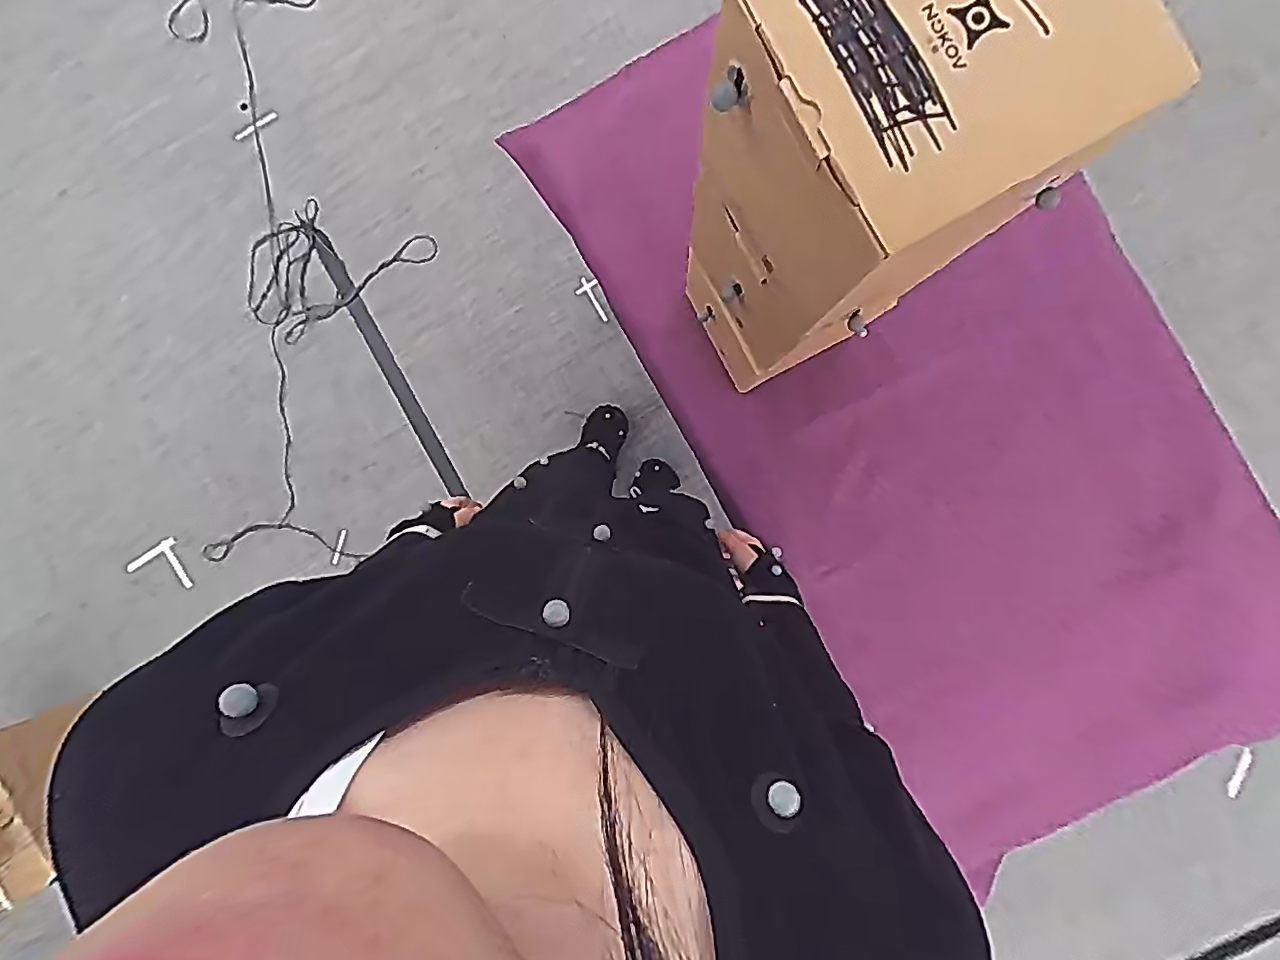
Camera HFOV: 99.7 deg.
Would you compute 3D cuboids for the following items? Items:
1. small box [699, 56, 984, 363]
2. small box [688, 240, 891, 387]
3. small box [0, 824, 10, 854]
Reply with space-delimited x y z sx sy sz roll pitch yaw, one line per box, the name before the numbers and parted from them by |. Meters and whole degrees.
small box | 0.168 -0.231 0.518 0.179 0.176 0.168 -30 91 3
small box | 0.172 -0.233 0.682 0.179 0.176 0.168 -28 91 3
small box | -1.661 0.878 1.255 0.179 0.176 0.168 -32 91 3
